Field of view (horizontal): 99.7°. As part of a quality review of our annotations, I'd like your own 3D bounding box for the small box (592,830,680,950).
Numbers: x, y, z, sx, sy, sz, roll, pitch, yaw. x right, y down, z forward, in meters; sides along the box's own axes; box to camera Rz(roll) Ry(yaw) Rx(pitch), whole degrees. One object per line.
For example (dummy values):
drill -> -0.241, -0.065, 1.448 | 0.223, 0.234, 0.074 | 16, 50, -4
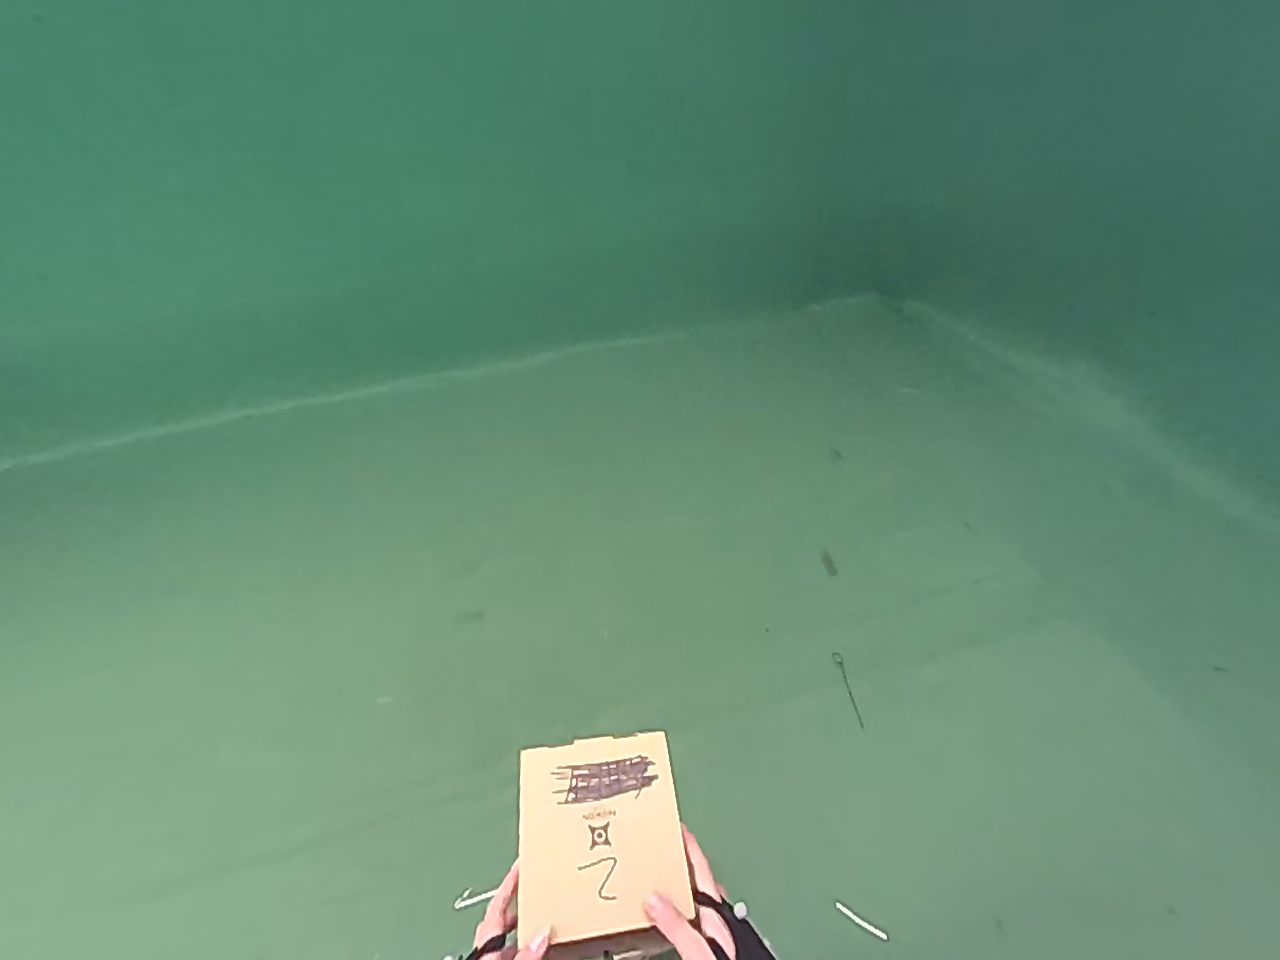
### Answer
small box -> -0.010, 0.952, 1.254 | 0.168, 0.176, 0.179 | -12, 47, -8
